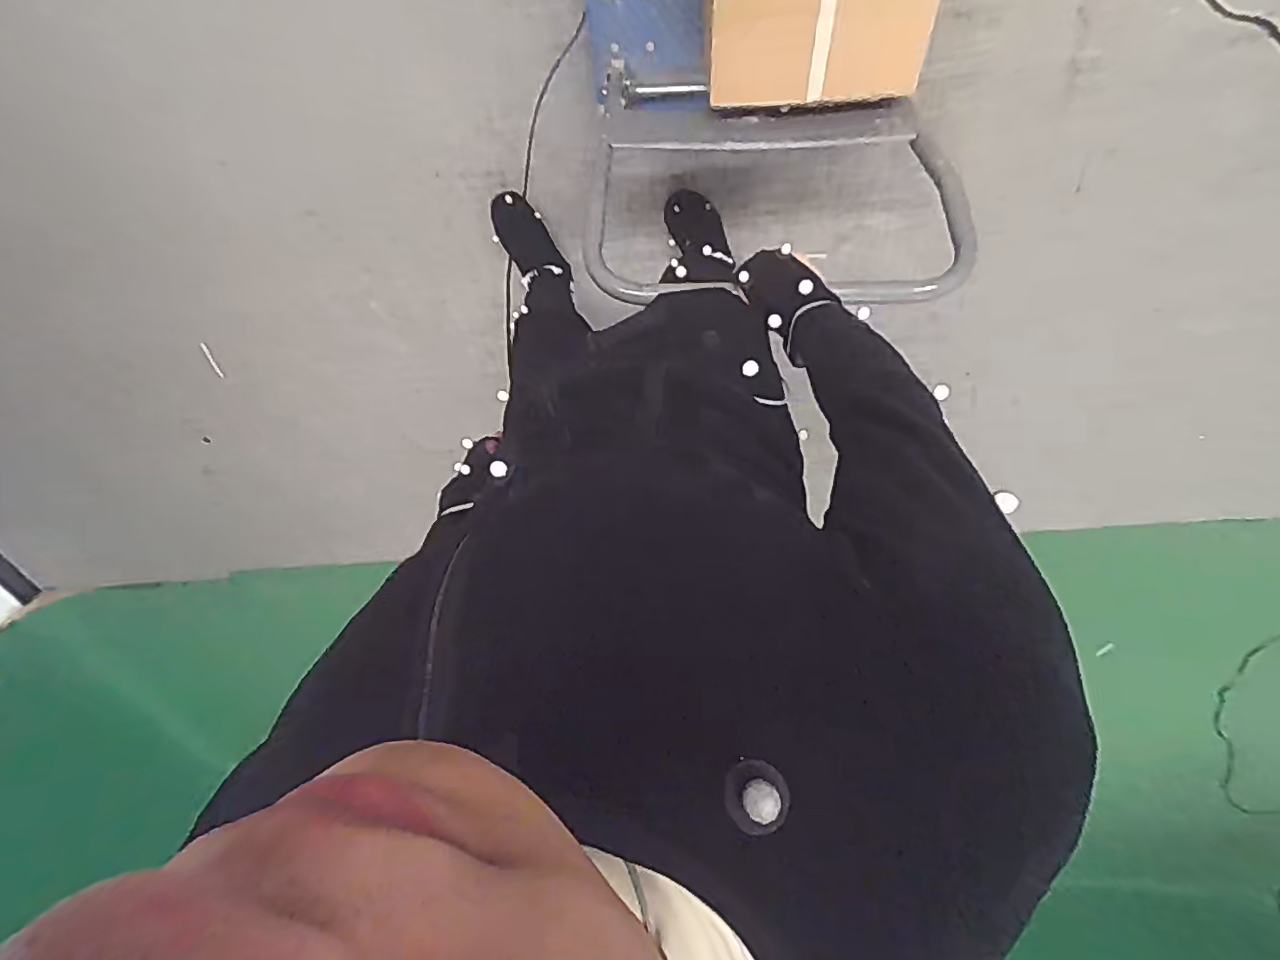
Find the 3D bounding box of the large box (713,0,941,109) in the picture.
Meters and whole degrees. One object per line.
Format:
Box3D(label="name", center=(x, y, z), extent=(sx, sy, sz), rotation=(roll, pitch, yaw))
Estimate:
Box3D(label="large box", center=(0.267, -0.832, 0.797), extent=(0.320, 0.320, 0.408), rotation=(-1, 138, 4))
